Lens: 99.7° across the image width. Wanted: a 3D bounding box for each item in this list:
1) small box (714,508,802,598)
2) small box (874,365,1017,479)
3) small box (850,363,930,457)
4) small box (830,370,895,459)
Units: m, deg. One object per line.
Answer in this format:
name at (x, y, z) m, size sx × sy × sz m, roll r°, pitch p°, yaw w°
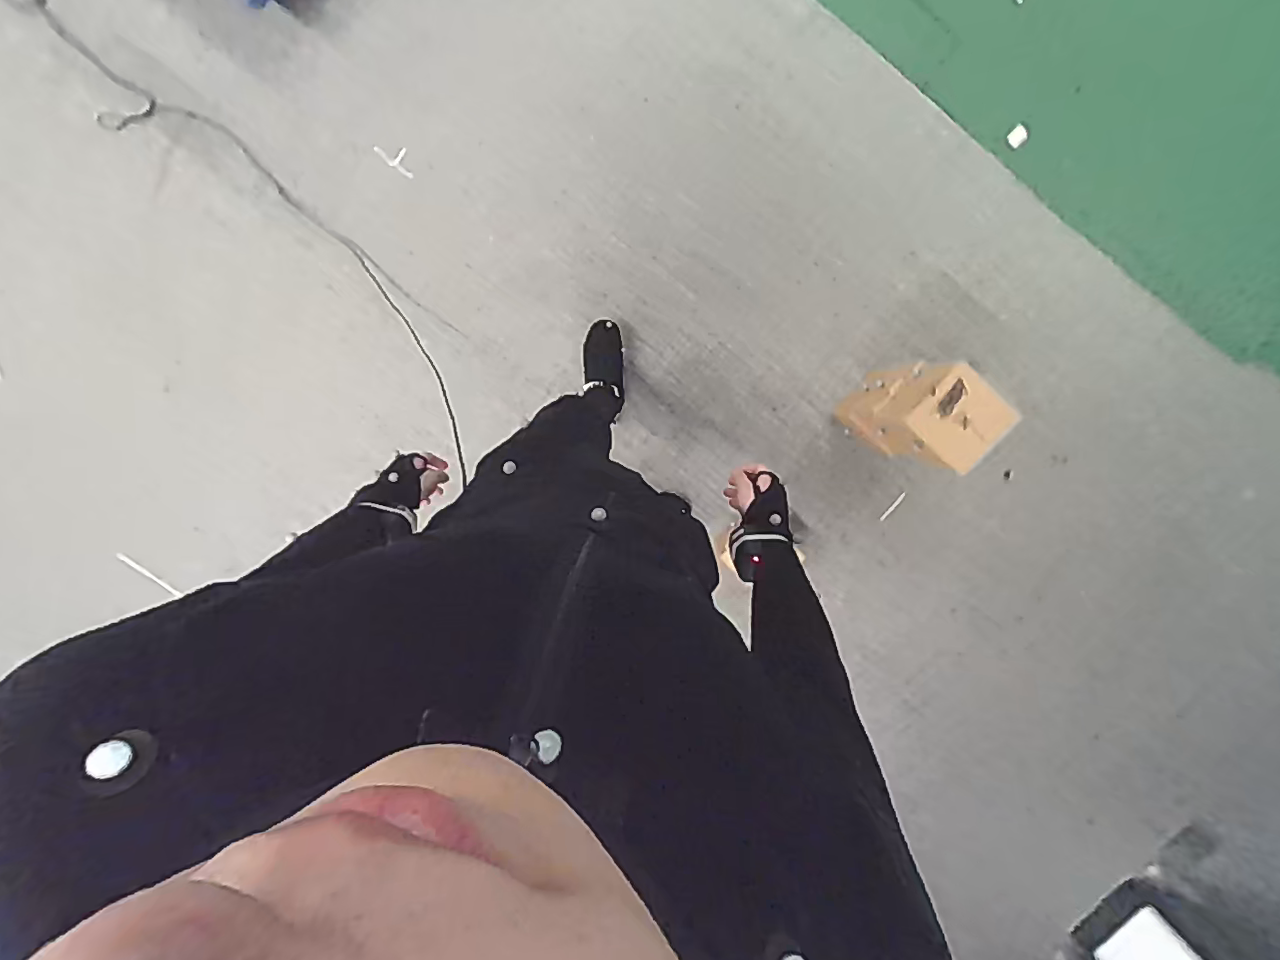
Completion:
small box at (0.333, 0.203, 1.564) m, size 0.168 × 0.176 × 0.179 m, roll -40°, pitch 94°, yaw 6°
small box at (0.646, -0.126, 1.170) m, size 0.179 × 0.176 × 0.168 m, roll 42°, pitch 98°, yaw -4°
small box at (0.653, -0.164, 1.330) m, size 0.179 × 0.176 × 0.168 m, roll 43°, pitch 98°, yaw -3°
small box at (0.660, -0.183, 1.493) m, size 0.168 × 0.176 × 0.179 m, roll 43°, pitch 98°, yaw -4°
